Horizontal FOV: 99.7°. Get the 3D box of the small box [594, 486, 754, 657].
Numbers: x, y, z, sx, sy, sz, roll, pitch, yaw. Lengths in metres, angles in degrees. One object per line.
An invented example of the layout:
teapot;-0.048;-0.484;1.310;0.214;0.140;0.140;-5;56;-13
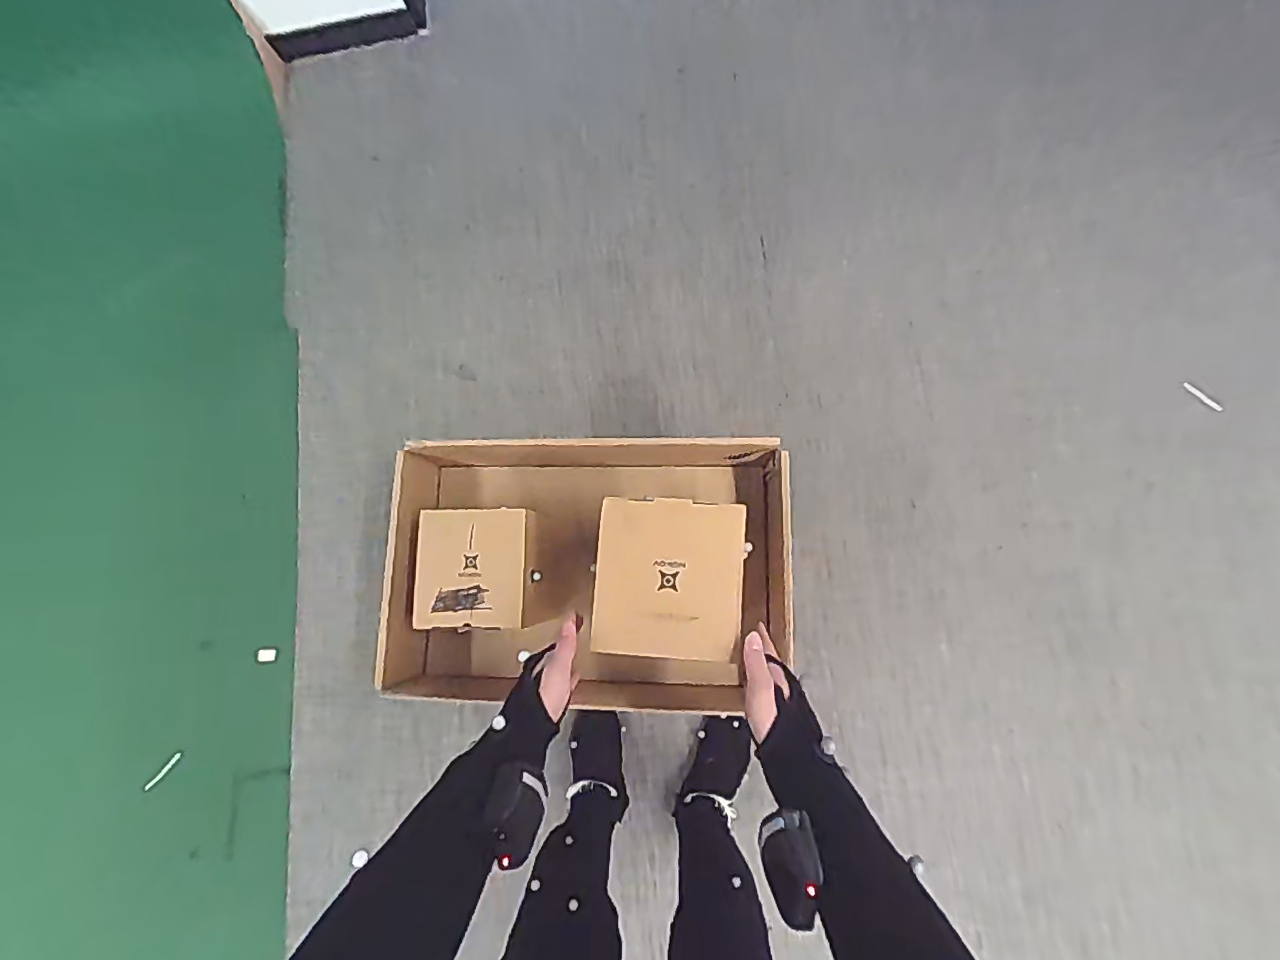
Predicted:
small box;0.044;0.111;0.672;0.168;0.176;0.179;4;81;6
